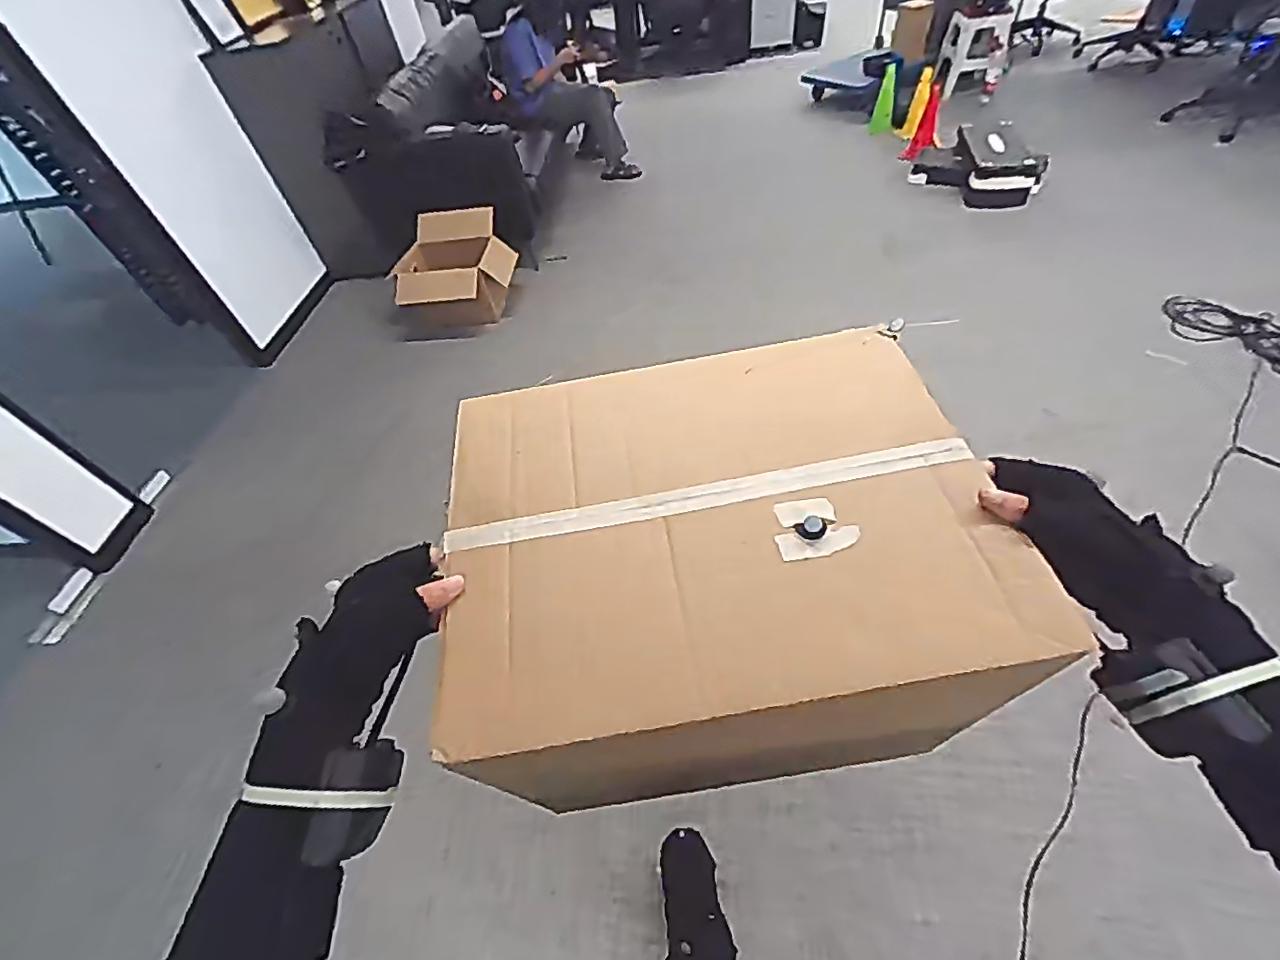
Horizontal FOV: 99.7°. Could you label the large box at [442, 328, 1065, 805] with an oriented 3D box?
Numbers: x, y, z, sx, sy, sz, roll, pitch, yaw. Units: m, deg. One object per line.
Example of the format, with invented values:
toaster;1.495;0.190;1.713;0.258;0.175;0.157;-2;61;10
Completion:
large box;0.063;0.098;0.539;0.408;0.320;0.320;-10;54;0
